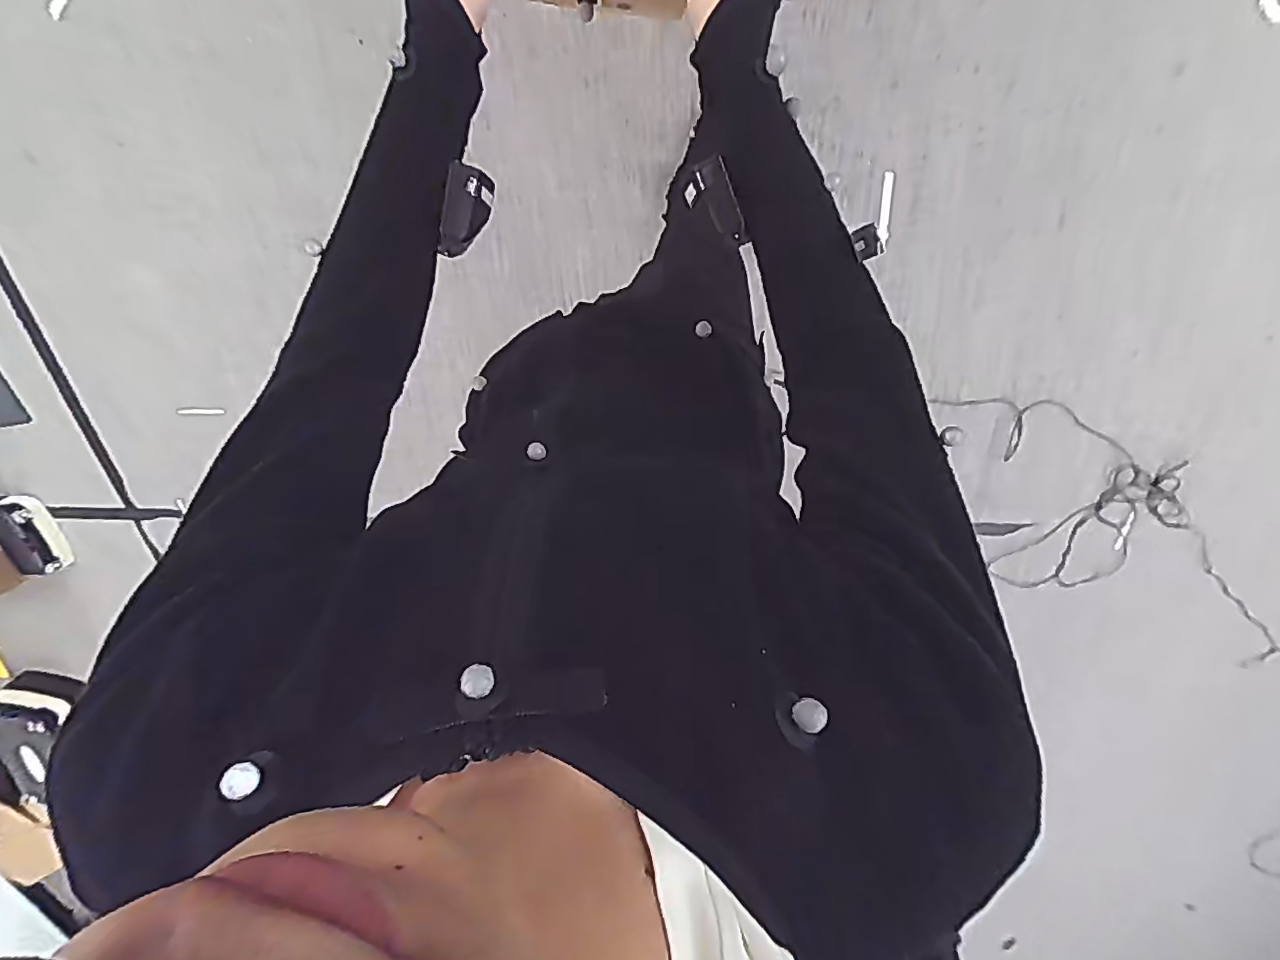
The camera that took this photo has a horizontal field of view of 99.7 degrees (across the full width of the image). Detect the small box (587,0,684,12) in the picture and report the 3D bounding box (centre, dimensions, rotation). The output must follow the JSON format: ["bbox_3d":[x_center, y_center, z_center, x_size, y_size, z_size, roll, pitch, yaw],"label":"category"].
[{"bbox_3d":[-0.025,-0.516,0.426,0.168,0.176,0.179,3,116,-4],"label":"small box"}]
